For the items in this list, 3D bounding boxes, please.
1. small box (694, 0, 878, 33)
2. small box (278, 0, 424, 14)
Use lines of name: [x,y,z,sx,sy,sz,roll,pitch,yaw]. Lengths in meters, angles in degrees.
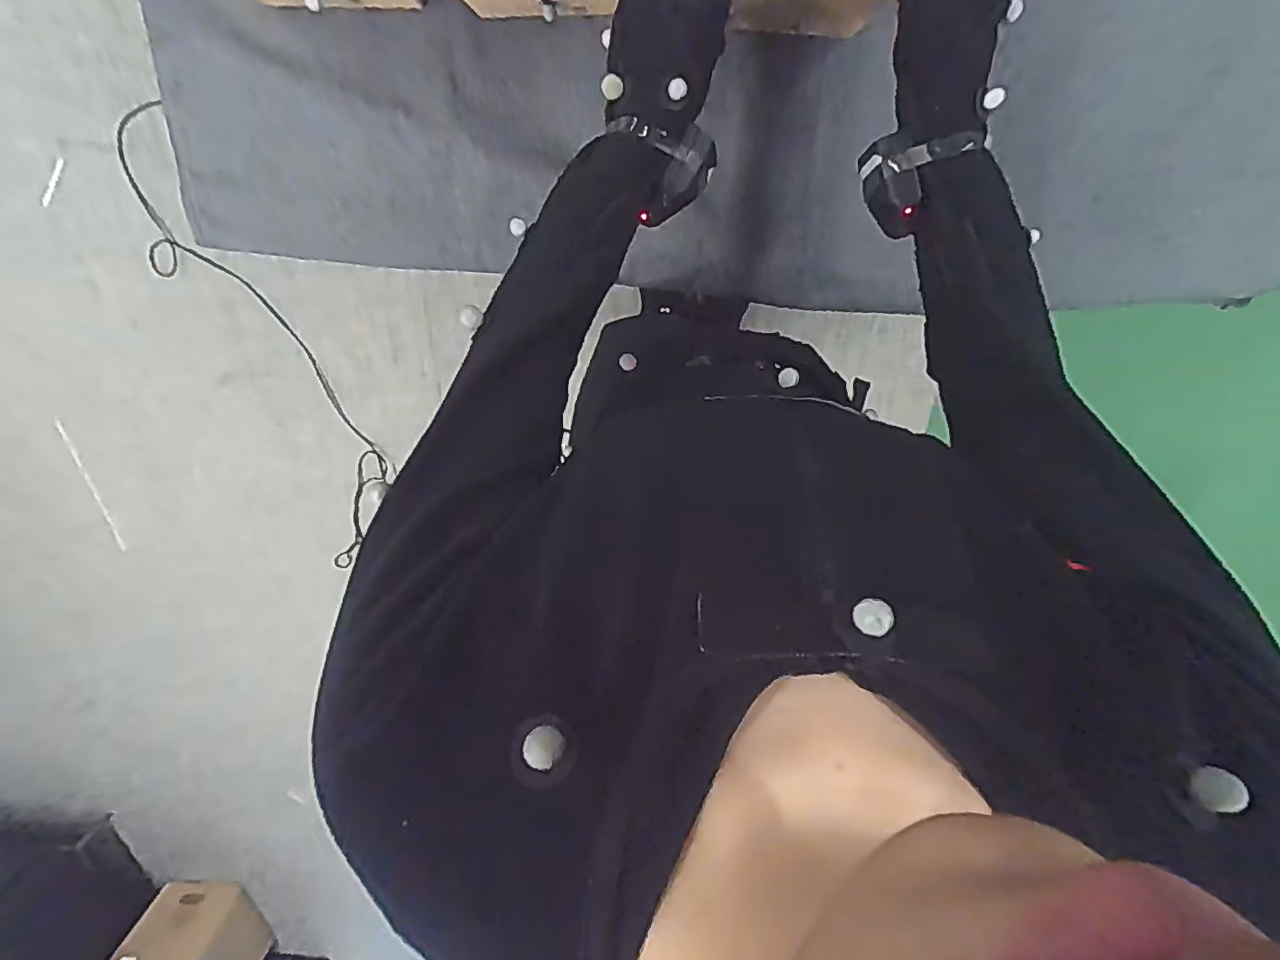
small box: [0.130,-0.482,0.420,0.168,0.176,0.179,6,116,2]
small box: [-0.293,-0.517,0.434,0.168,0.176,0.179,4,116,3]
